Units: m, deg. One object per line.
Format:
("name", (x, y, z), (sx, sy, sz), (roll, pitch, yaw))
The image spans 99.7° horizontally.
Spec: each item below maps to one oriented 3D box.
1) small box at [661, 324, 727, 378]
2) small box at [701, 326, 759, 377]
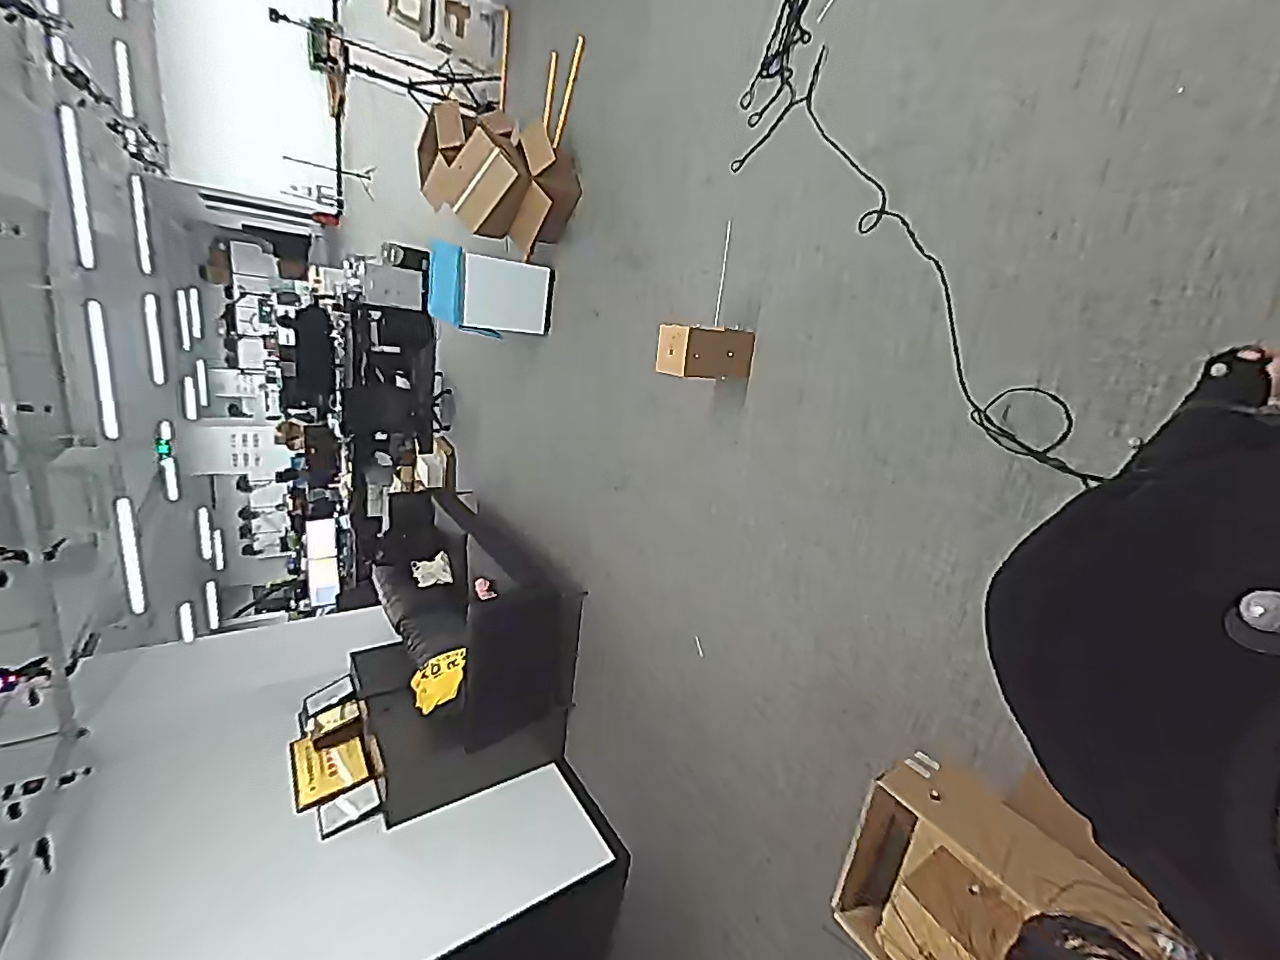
("small box", (0.200, -0.473, 1.986), (0.168, 0.176, 0.179), (26, 114, 51))
("small box", (0.337, -0.492, 2.077), (0.168, 0.176, 0.179), (26, 114, 51))
